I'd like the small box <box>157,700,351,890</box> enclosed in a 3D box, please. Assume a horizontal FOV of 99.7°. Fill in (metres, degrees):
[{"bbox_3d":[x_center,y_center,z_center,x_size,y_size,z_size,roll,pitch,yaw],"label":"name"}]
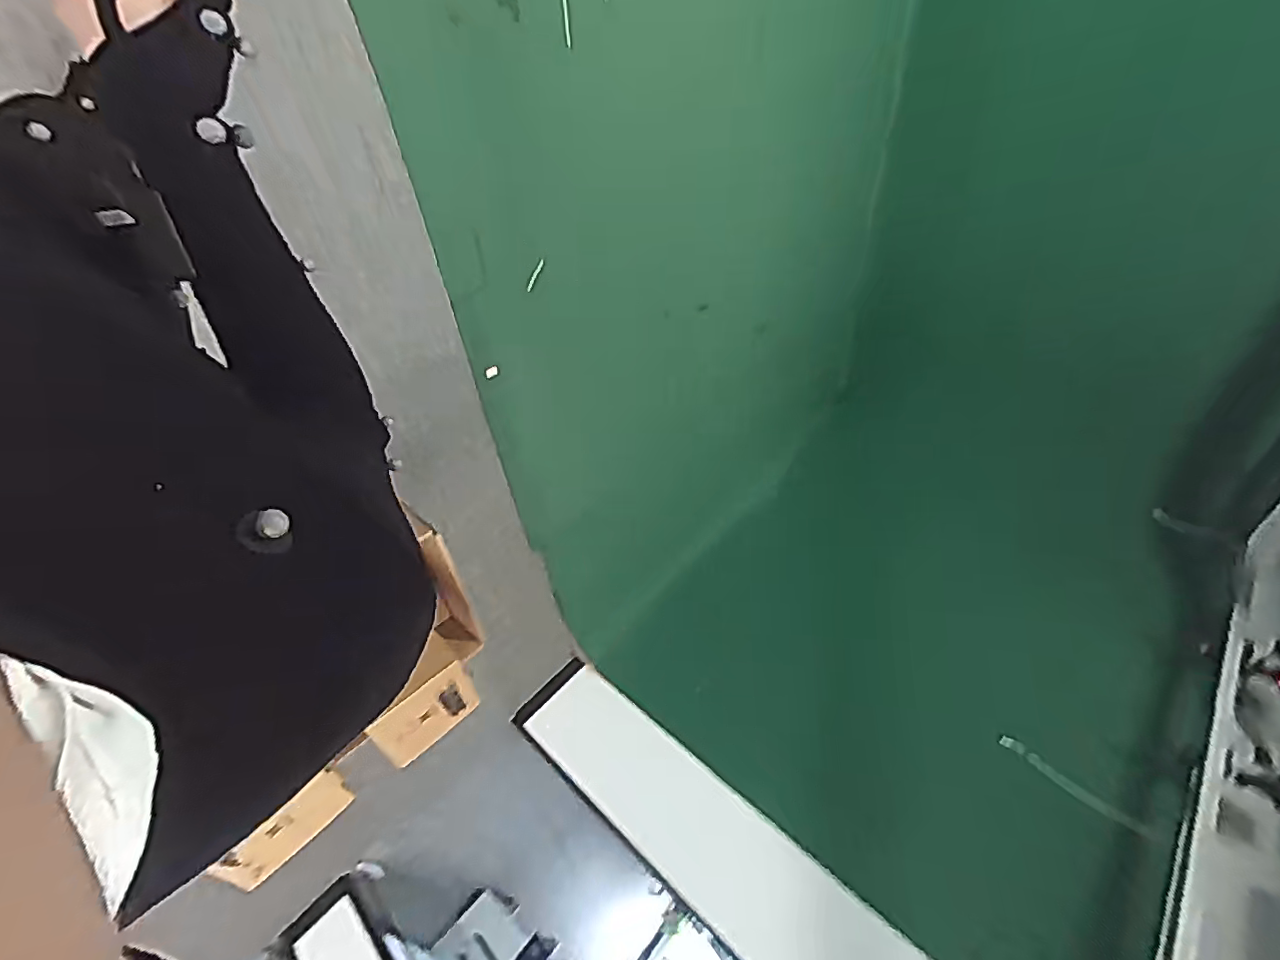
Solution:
[{"bbox_3d":[-0.616,0.496,0.870,0.179,0.176,0.168,-38,139,-32],"label":"small box"}]
